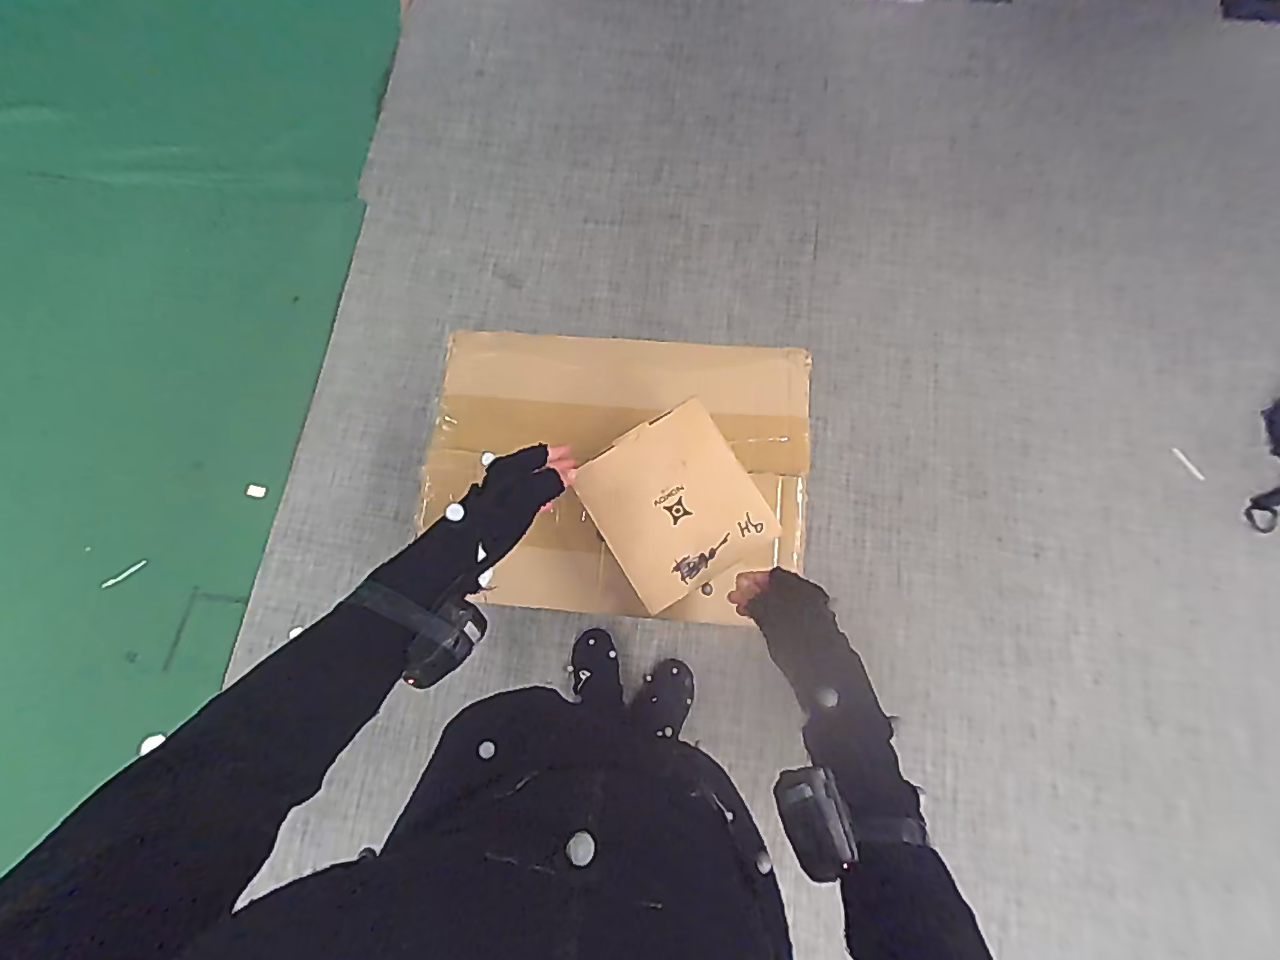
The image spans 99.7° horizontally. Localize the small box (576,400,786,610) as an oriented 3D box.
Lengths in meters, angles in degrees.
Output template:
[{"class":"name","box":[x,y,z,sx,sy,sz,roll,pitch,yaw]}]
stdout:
[{"class":"small box","box":[0.044,0.036,0.653,0.168,0.176,0.179,-32,82,-2]}]
